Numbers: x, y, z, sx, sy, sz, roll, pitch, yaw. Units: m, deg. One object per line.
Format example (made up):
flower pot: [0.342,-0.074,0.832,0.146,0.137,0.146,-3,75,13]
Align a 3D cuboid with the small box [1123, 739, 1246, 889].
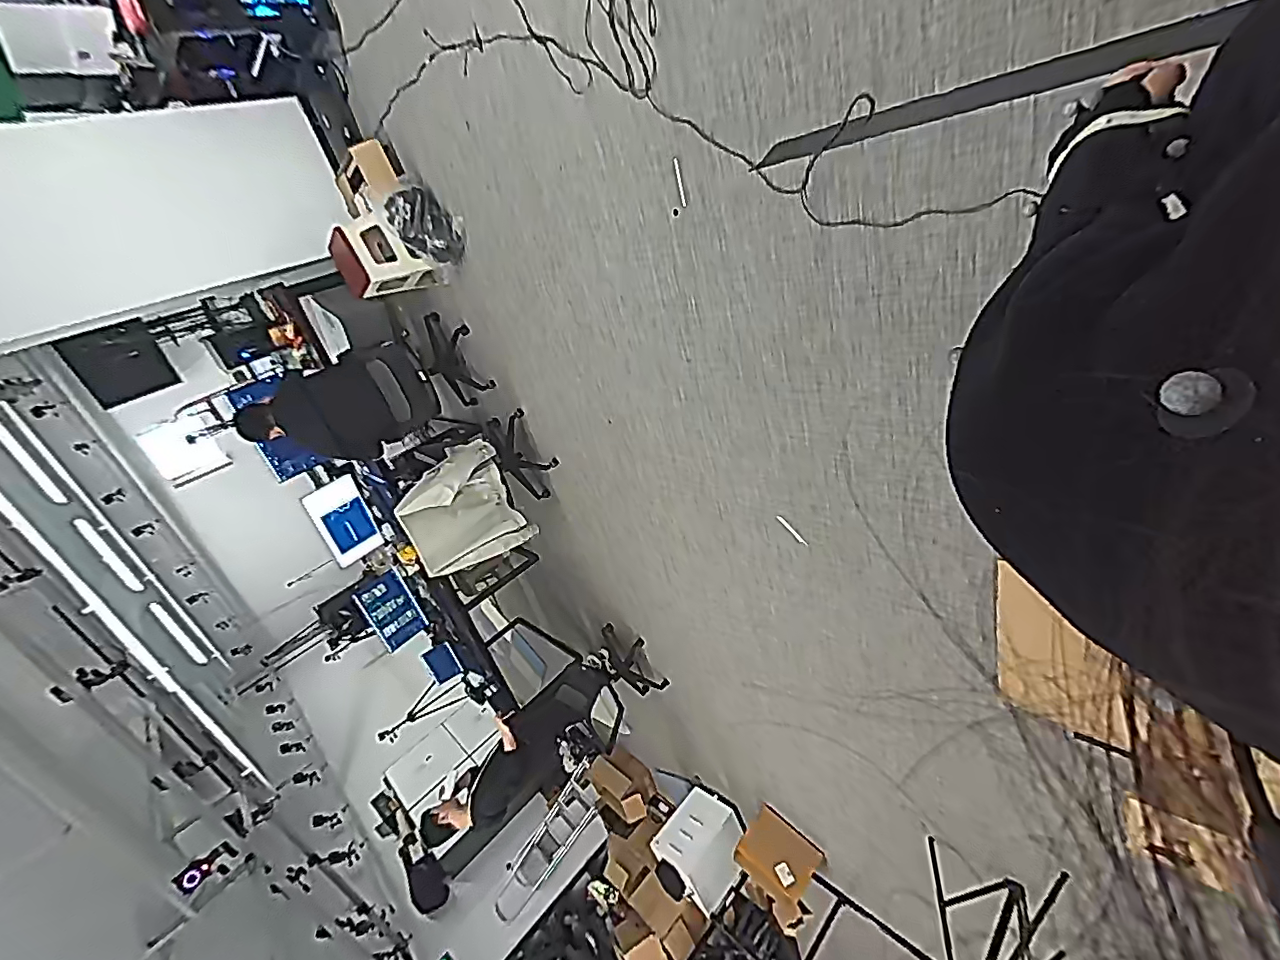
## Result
small box: [1.165,0.705,1.160,0.168,0.176,0.179,8,125,49]

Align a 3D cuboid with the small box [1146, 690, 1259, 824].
small box: [1.285,0.626,1.241,0.168,0.176,0.179,8,126,49]
